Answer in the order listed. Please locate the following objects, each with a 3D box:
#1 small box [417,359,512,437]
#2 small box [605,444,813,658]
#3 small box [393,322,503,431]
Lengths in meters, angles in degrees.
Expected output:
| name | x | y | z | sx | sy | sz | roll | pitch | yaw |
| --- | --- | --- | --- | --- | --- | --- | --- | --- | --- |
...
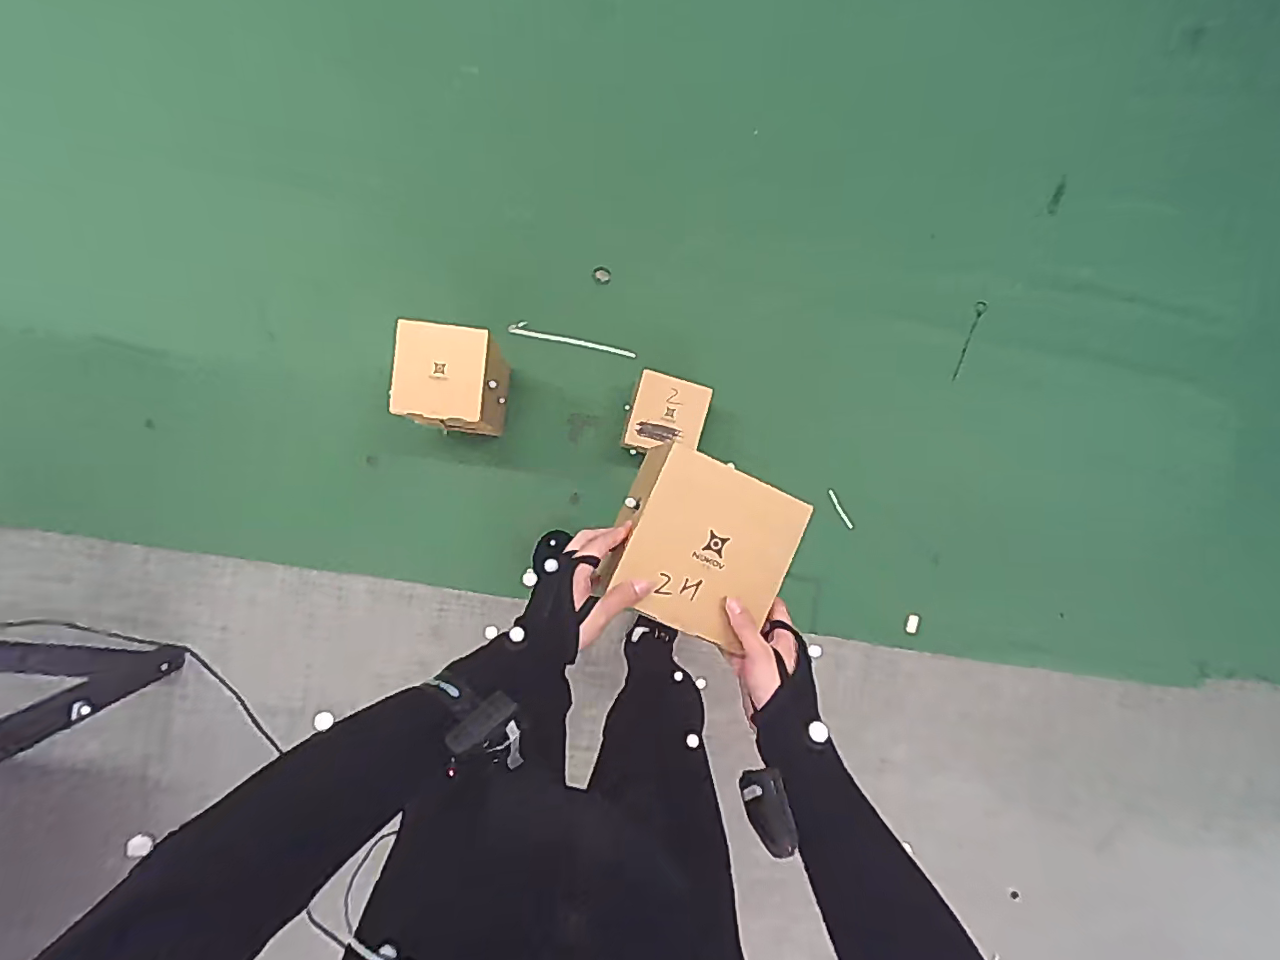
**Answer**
| name | x | y | z | sx | sy | sz | roll | pitch | yaw |
| --- | --- | --- | --- | --- | --- | --- | --- | --- | --- |
| small box | -0.396 | -0.196 | 1.246 | 0.168 | 0.176 | 0.179 | 7 | 90 | -6 |
| small box | 0.064 | 0.072 | 0.633 | 0.168 | 0.176 | 0.179 | 25 | 88 | -7 |
| small box | -0.375 | -0.199 | 1.085 | 0.168 | 0.176 | 0.179 | 6 | 91 | -6 |
